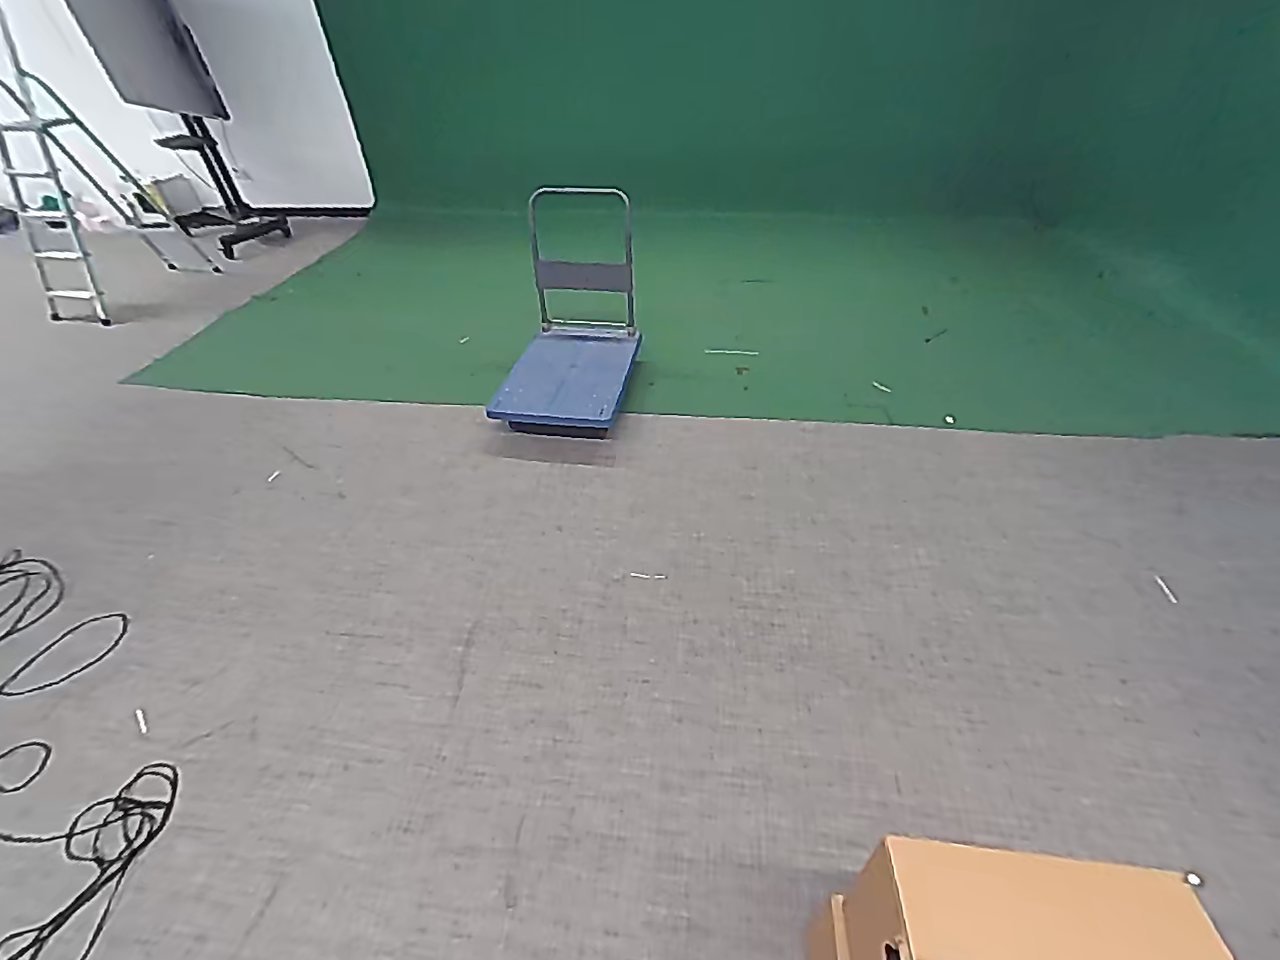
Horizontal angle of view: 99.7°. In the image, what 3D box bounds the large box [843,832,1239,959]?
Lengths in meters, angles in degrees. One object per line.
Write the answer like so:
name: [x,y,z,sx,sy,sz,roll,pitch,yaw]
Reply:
large box: [0.539,0.735,0.738,0.408,0.320,0.320,4,37,6]
